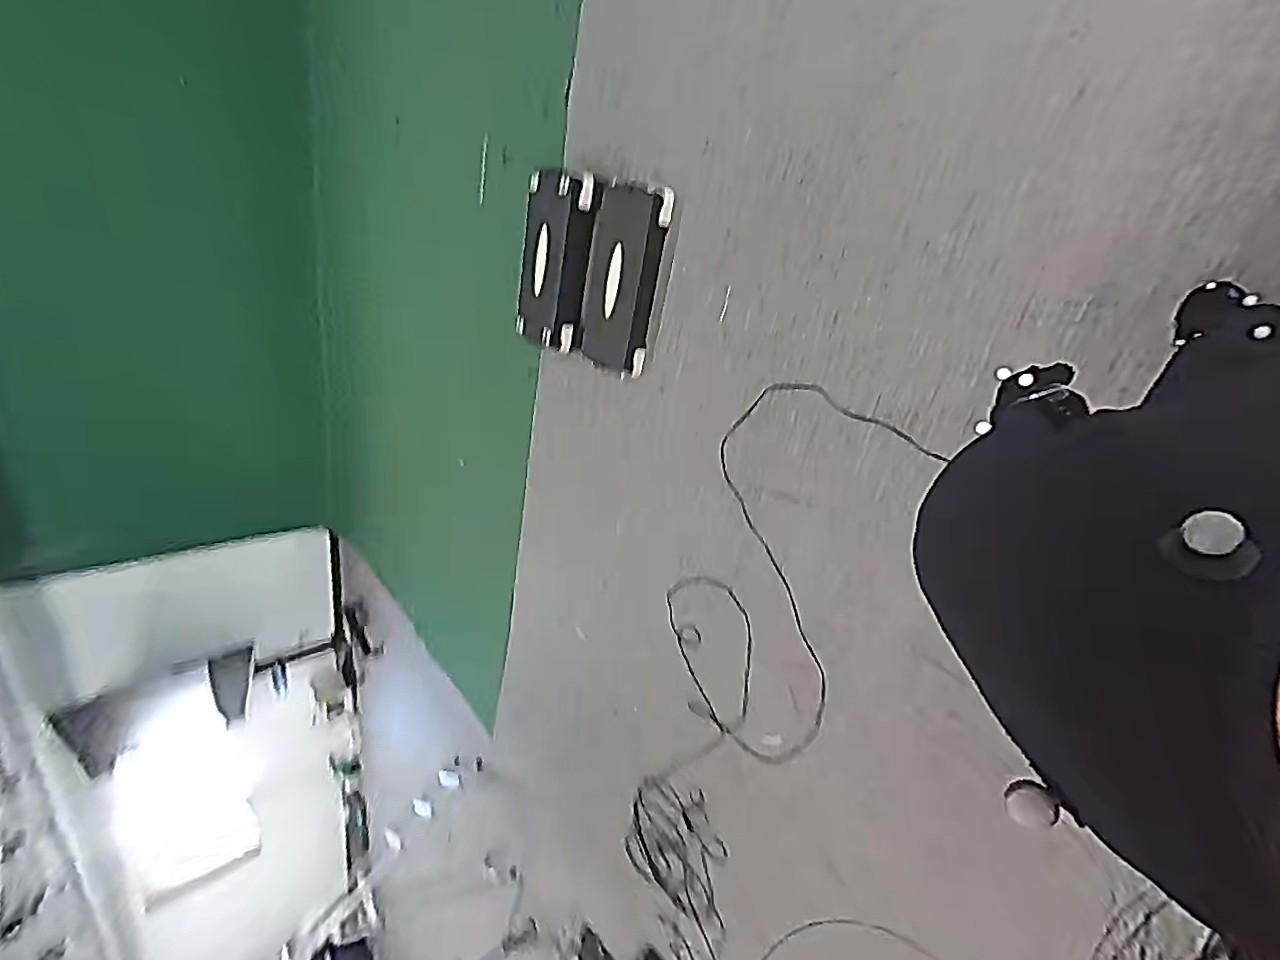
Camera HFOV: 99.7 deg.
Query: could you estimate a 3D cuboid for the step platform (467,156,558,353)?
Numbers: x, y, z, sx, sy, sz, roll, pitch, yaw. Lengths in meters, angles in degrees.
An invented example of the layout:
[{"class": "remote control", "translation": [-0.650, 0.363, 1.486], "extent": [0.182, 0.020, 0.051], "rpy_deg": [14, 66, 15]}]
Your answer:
[{"class": "step platform", "translation": [-0.505, -0.848, 2.102], "extent": [0.286, 0.204, 0.684], "rpy_deg": [30, 121, 37]}]
